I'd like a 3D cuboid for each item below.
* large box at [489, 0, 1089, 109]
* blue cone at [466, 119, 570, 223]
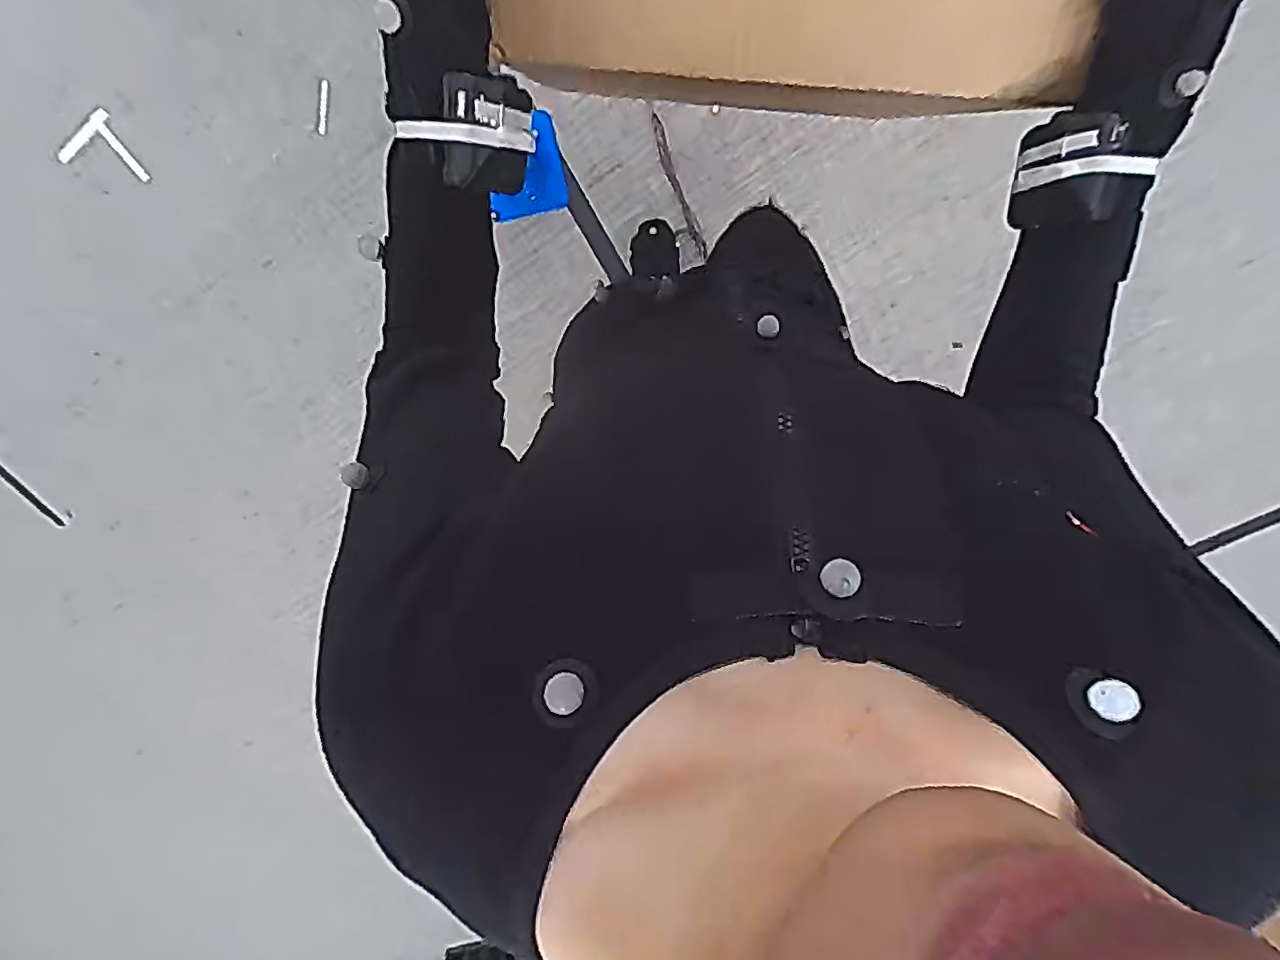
[{"bbox_3d":[0.100,-0.491,0.417,0.408,0.320,0.320,2,123,-3],"label":"large box"},{"bbox_3d":[-0.281,-0.659,1.109,0.193,0.380,0.192,-9,111,7],"label":"blue cone"}]
